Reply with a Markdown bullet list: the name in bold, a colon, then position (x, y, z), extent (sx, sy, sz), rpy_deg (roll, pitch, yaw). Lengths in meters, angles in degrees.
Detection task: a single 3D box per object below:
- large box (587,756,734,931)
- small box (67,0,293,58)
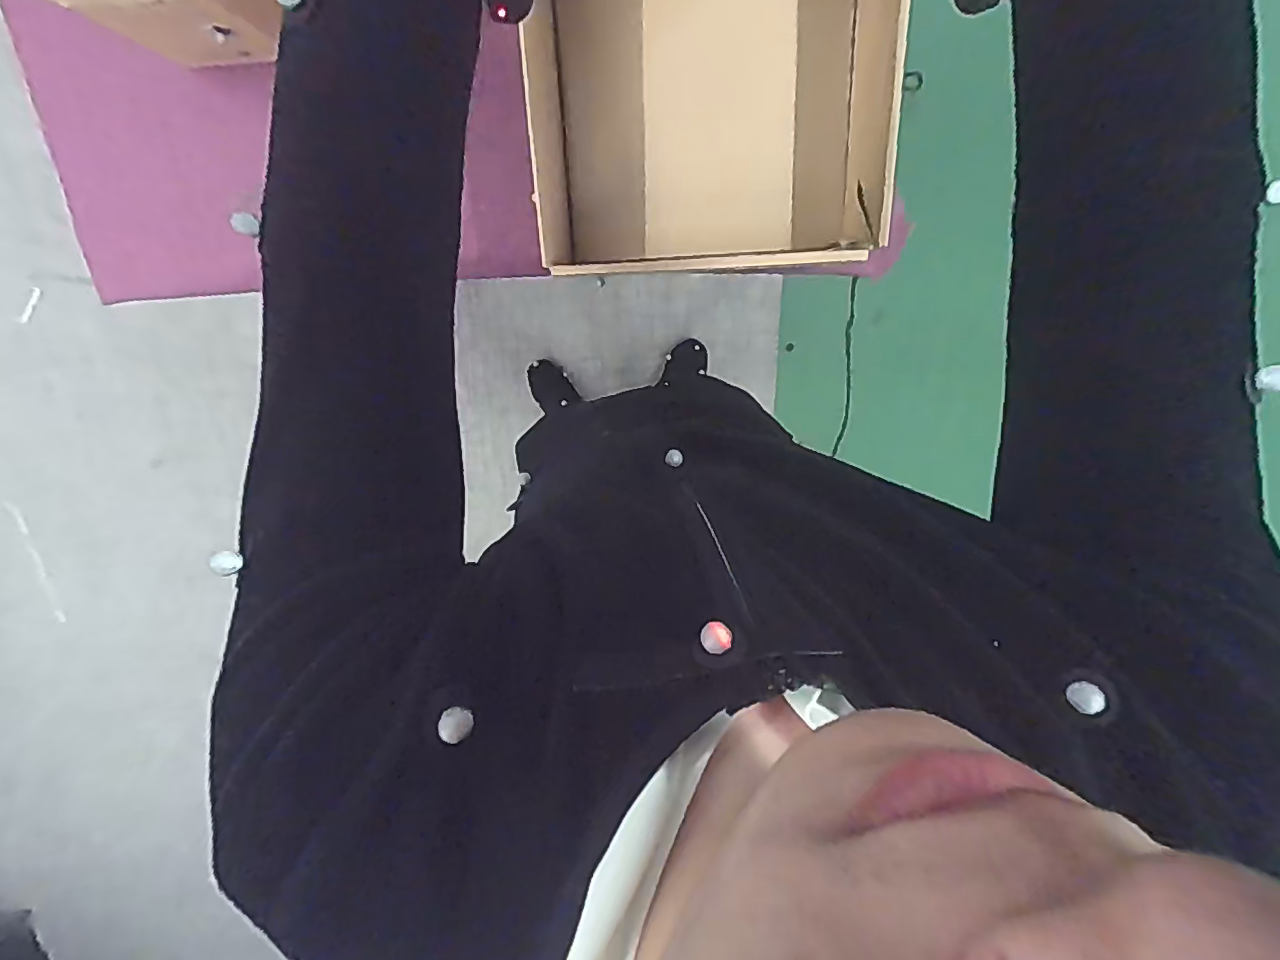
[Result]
- **large box**: position (0.072, 1.283, 1.927), extent (0.408, 0.320, 0.320), rpy_deg (-33, 104, 12)
- **small box**: position (-0.557, -0.638, 0.648), extent (0.168, 0.176, 0.179), rpy_deg (-1, 108, 3)
